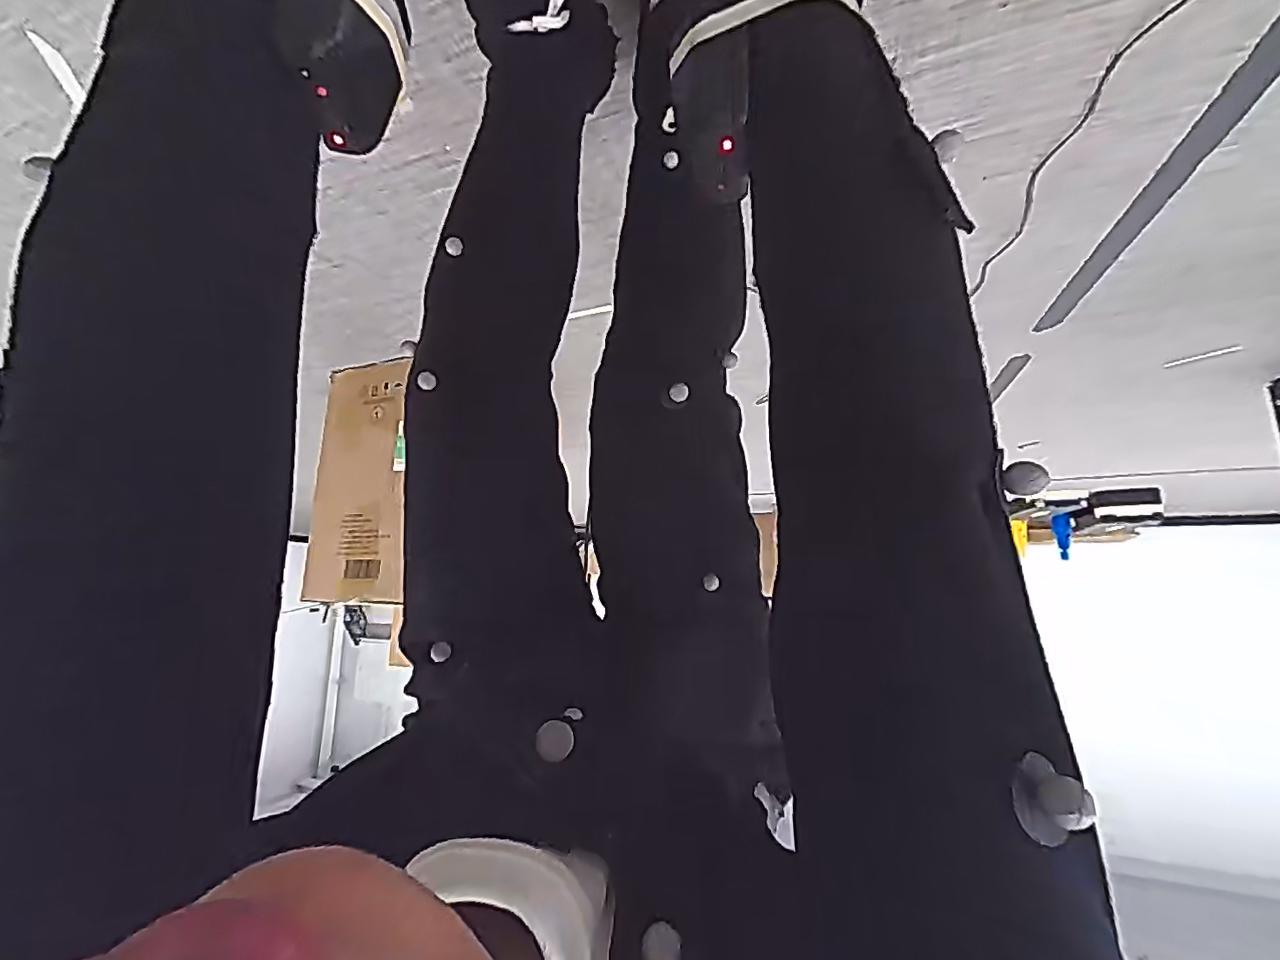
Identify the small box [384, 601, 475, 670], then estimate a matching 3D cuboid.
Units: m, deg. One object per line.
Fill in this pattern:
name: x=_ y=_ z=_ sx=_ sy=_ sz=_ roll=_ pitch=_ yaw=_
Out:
small box: x=-0.576 y=0.424 z=1.493 sx=0.168 sy=0.176 sz=0.179 roll=-4 pitch=168 yaw=21
